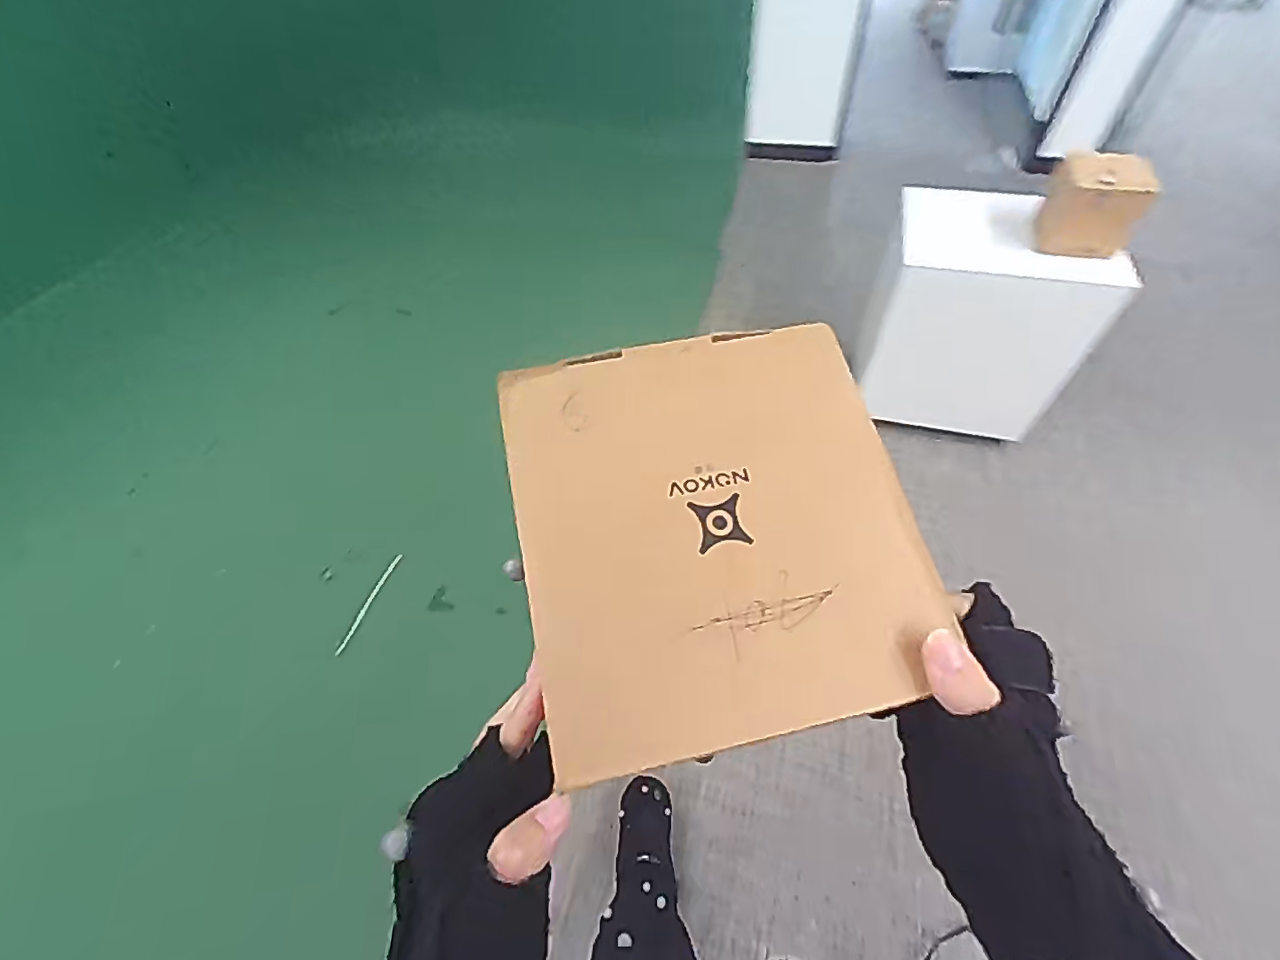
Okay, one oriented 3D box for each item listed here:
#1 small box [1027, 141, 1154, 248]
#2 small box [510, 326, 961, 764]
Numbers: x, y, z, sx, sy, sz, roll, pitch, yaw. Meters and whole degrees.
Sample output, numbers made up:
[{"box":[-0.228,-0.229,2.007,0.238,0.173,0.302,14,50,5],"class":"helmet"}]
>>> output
[{"box":[1.067,-0.686,1.301,0.168,0.176,0.179,9,55,13],"class":"small box"},{"box":[0.029,0.043,0.311,0.168,0.176,0.179,-11,70,-6],"class":"small box"}]
